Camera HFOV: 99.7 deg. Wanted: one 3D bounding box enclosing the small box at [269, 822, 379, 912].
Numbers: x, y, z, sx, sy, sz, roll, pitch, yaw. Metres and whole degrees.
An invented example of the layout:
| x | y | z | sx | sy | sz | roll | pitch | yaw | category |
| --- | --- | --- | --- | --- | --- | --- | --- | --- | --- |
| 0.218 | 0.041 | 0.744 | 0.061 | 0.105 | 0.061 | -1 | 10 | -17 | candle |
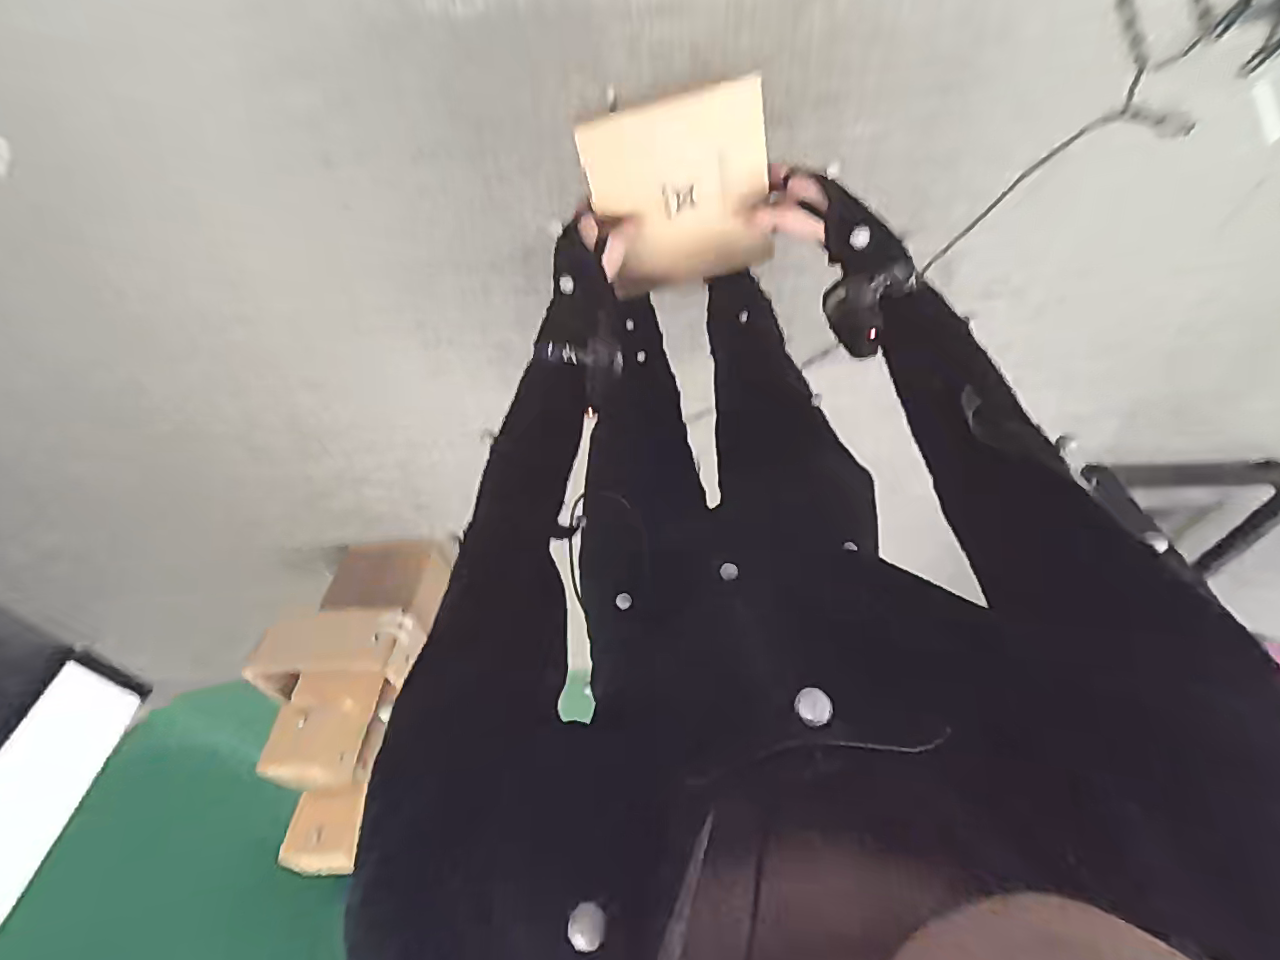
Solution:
| x | y | z | sx | sy | sz | roll | pitch | yaw | category |
| --- | --- | --- | --- | --- | --- | --- | --- | --- | --- |
| -0.857 | 1.060 | 1.485 | 0.179 | 0.176 | 0.168 | -3 | 131 | 4 | small box |

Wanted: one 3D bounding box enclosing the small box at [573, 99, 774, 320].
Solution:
| x | y | z | sx | sy | sz | roll | pitch | yaw | category |
| --- | --- | --- | --- | --- | --- | --- | --- | --- | --- |
| 0.037 | -0.302 | 0.601 | 0.179 | 0.176 | 0.168 | -14 | 126 | 6 | small box |
